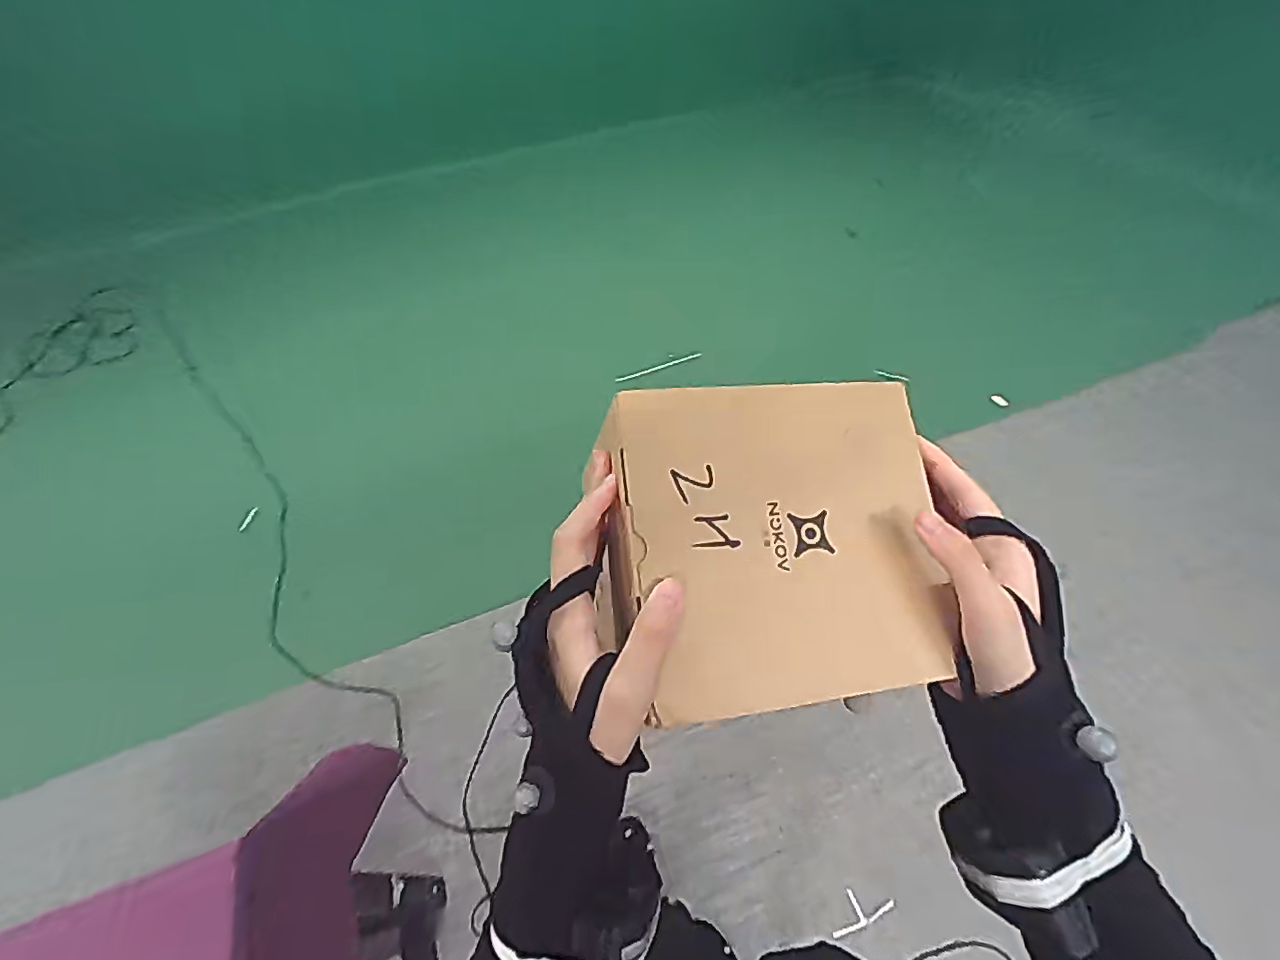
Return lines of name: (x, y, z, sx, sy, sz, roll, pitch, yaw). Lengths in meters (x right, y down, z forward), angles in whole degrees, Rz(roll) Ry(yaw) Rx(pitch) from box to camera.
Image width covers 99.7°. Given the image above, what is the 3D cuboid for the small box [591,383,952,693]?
small box: (0.066, 0.043, 0.374, 0.179, 0.176, 0.168, -3, 75, -11)
